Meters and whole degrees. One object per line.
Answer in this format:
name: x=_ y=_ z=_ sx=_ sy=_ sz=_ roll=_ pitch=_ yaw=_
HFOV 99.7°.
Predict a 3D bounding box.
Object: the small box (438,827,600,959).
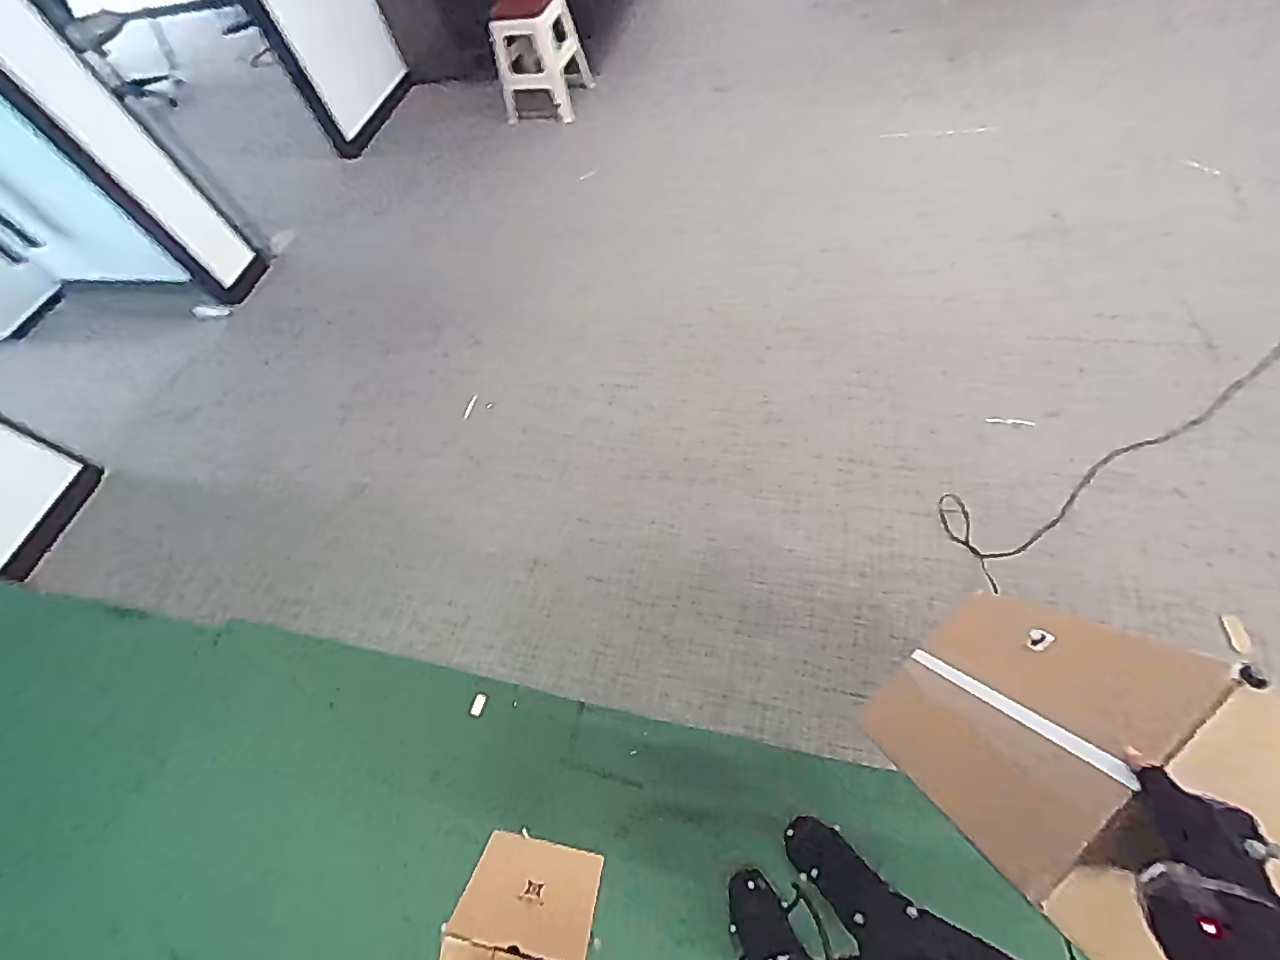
small box: x=-0.161 y=0.607 z=0.700 sx=0.168 sy=0.179 sz=0.176 roll=14 pitch=95 yaw=4
